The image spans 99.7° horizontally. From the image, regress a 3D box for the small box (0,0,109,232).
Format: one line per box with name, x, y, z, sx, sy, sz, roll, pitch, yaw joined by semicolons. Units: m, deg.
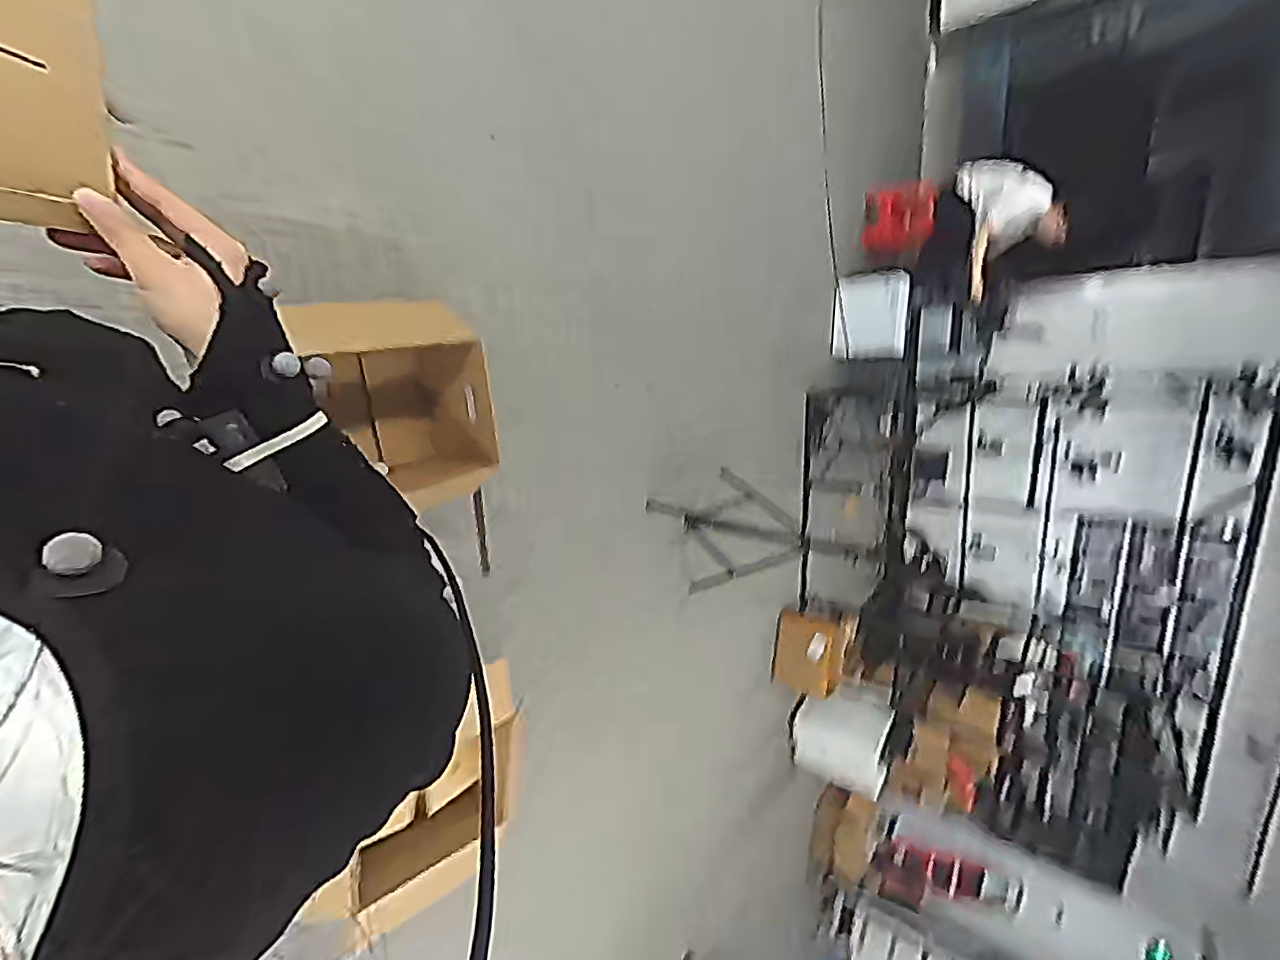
small box;-0.409;-0.240;0.282;0.179;0.176;0.168;-9;119;-43
